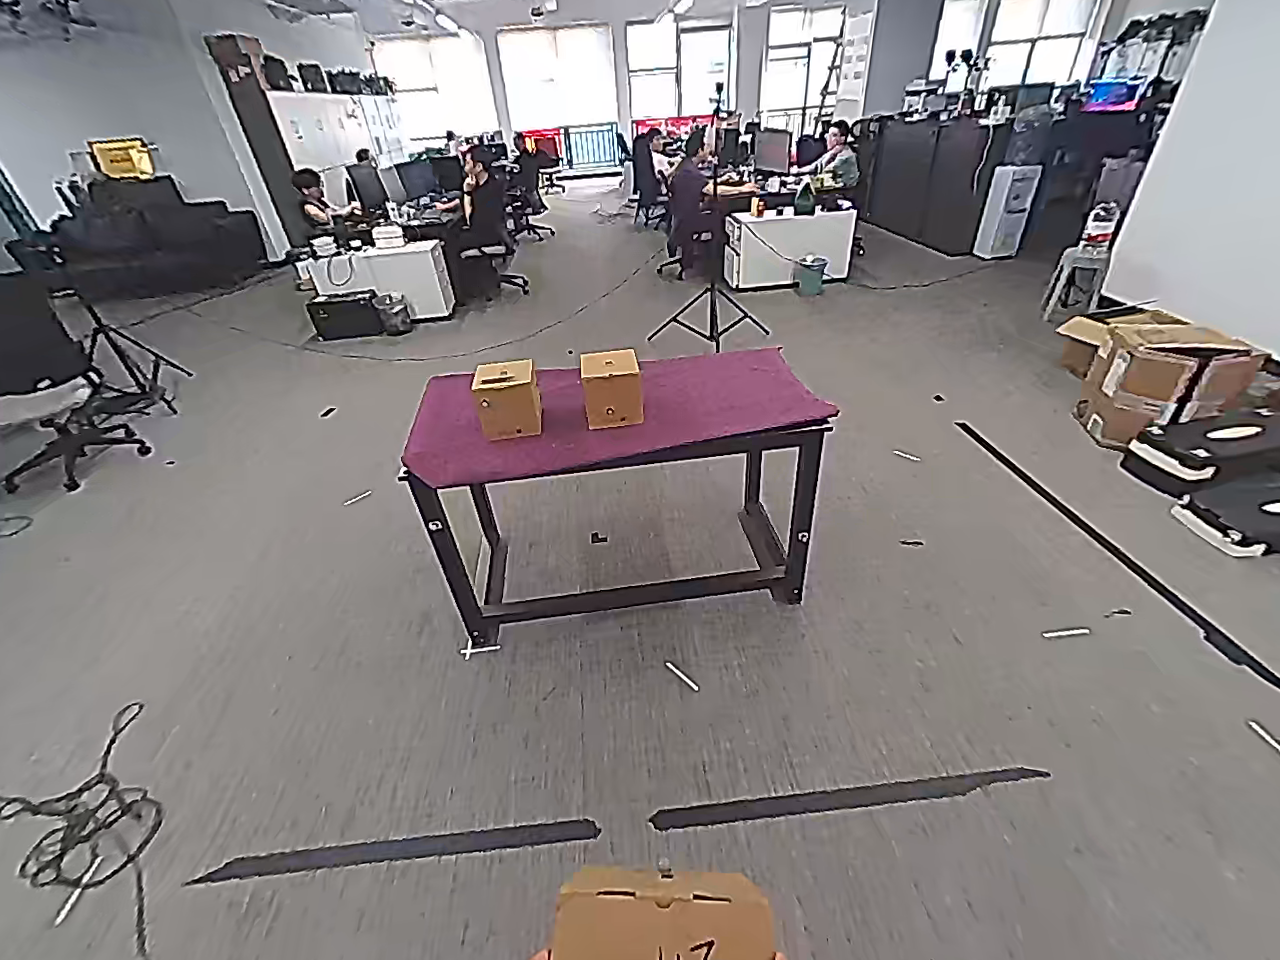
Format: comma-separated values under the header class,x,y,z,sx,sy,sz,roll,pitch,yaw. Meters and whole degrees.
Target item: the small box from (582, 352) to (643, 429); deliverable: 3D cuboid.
class,x,y,z,sx,sy,sz,roll,pitch,yaw
small box,-0.085,-0.270,1.626,0.168,0.176,0.179,-7,35,-3
